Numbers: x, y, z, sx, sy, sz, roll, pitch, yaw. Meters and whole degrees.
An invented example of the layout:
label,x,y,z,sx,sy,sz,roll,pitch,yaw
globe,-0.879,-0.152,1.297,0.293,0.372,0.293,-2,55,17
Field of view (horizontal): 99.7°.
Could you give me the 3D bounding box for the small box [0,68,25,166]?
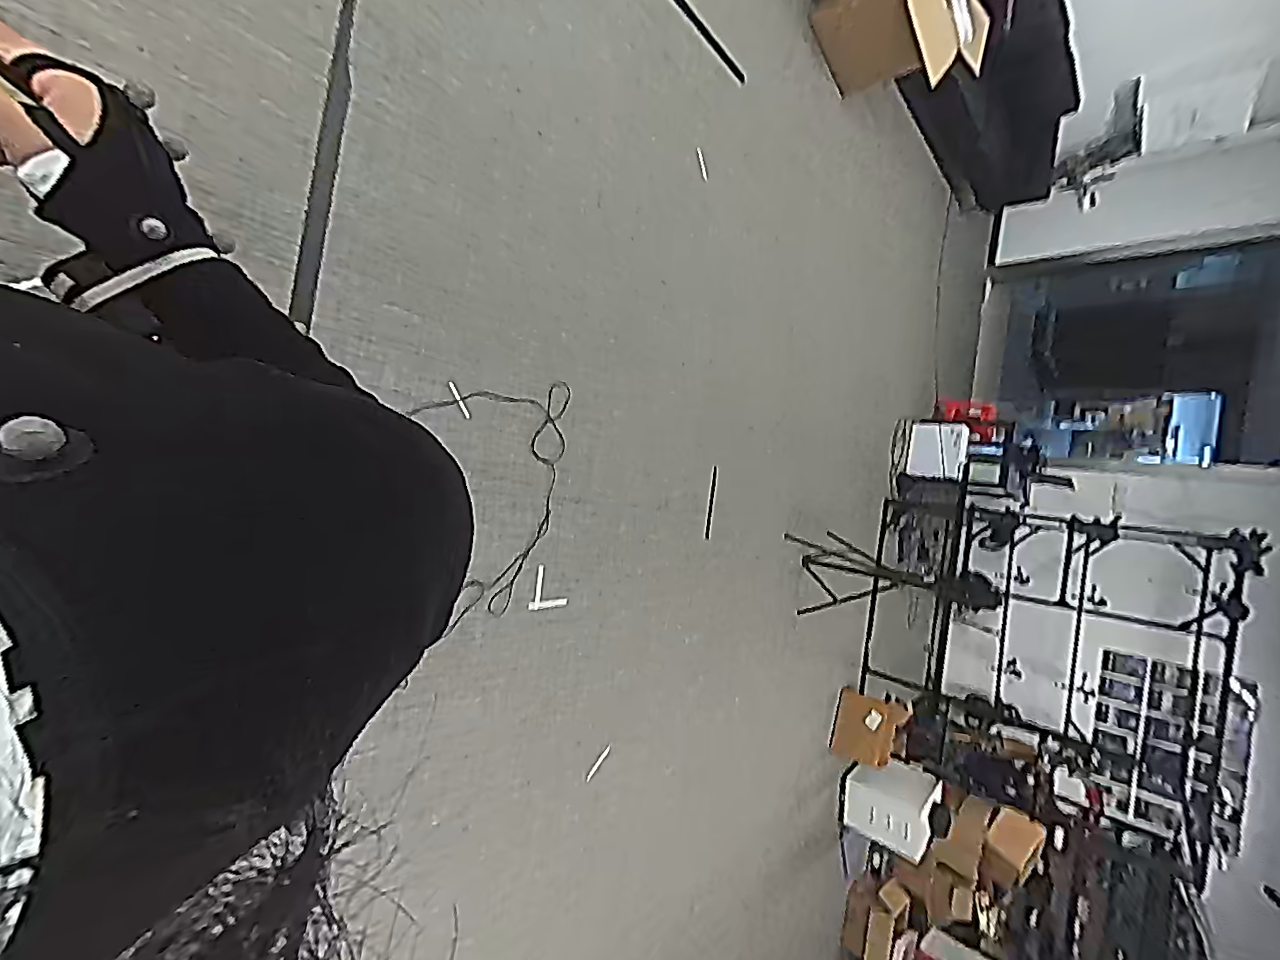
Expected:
label,x,y,z,sx,sy,sz,roll,pitch,yaw
small box,-0.495,-0.291,0.297,0.168,0.176,0.179,-26,115,-41
